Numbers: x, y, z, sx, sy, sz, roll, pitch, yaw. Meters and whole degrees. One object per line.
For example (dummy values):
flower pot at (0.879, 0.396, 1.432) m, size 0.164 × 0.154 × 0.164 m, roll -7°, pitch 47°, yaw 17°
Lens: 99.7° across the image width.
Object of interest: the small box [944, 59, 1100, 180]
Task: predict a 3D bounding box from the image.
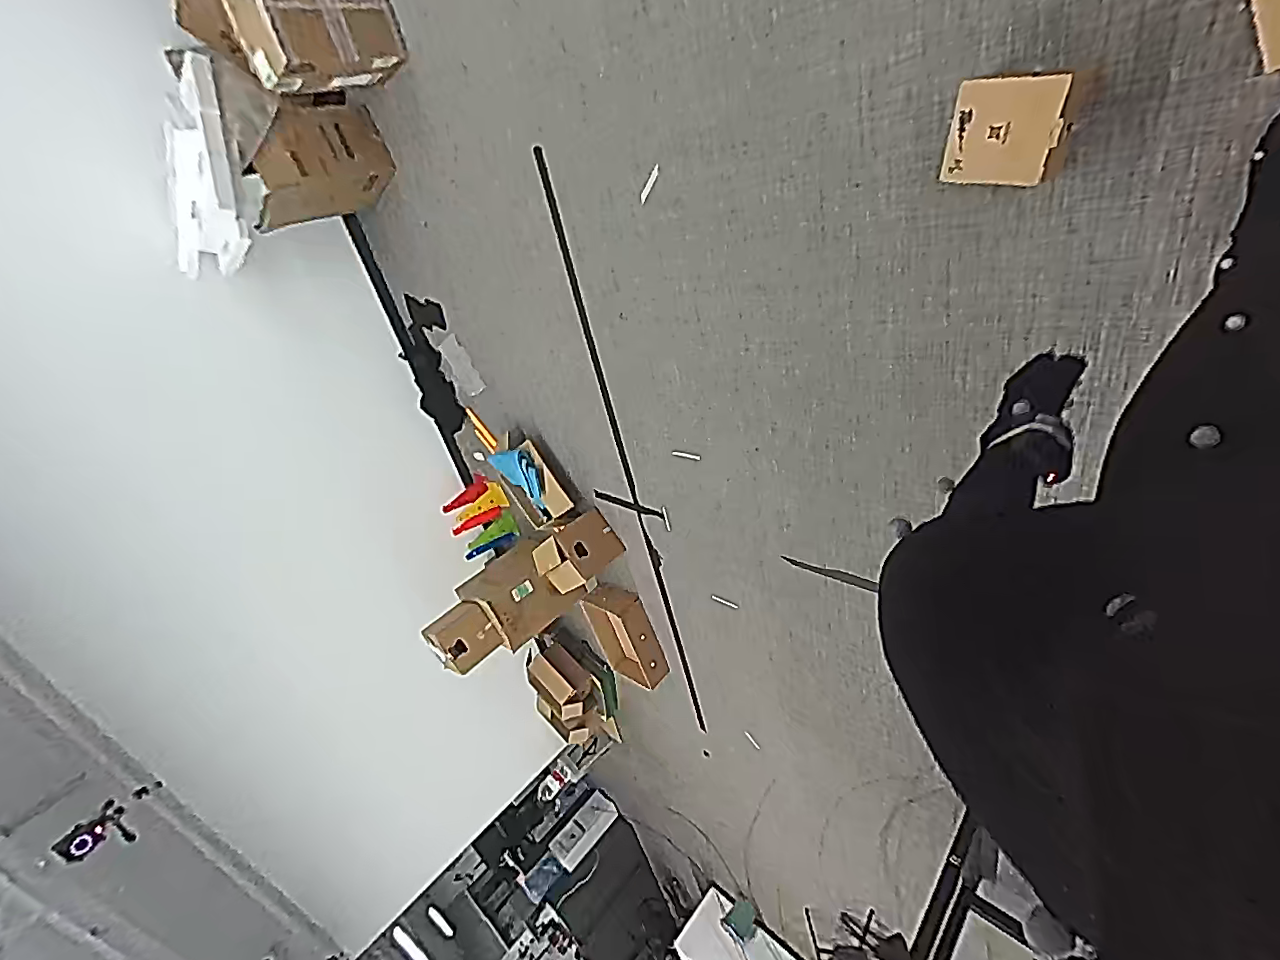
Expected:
small box at (0.705, -0.668, 1.001) m, size 0.179 × 0.176 × 0.168 m, roll 27°, pitch 138°, yaw 35°
